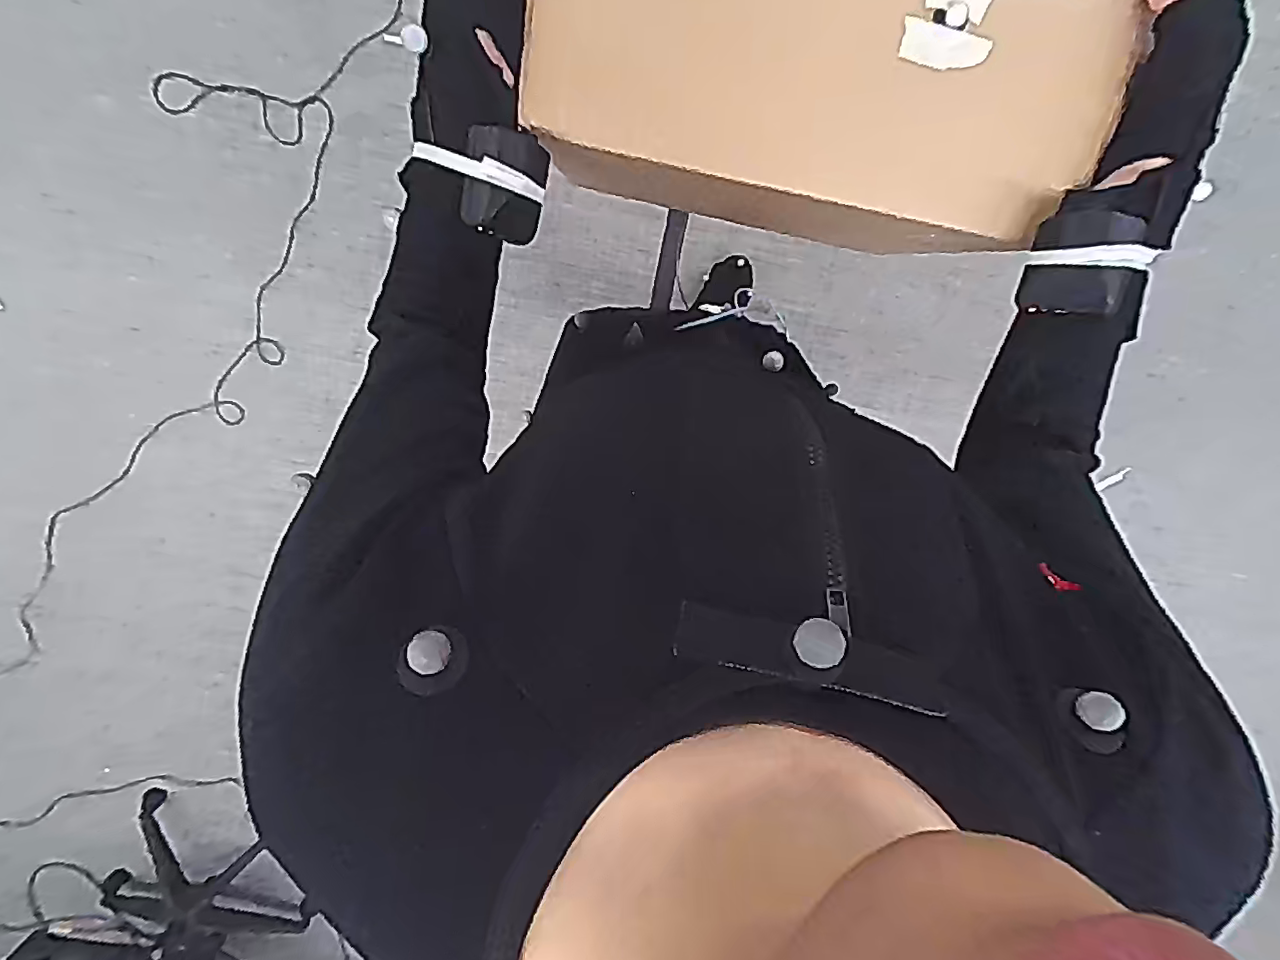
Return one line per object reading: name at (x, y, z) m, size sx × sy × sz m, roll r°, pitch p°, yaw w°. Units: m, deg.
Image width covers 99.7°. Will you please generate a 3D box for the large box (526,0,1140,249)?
large box at (0.133, -0.408, 0.480) m, size 0.408 × 0.320 × 0.320 m, roll 10°, pitch 113°, yaw -6°
